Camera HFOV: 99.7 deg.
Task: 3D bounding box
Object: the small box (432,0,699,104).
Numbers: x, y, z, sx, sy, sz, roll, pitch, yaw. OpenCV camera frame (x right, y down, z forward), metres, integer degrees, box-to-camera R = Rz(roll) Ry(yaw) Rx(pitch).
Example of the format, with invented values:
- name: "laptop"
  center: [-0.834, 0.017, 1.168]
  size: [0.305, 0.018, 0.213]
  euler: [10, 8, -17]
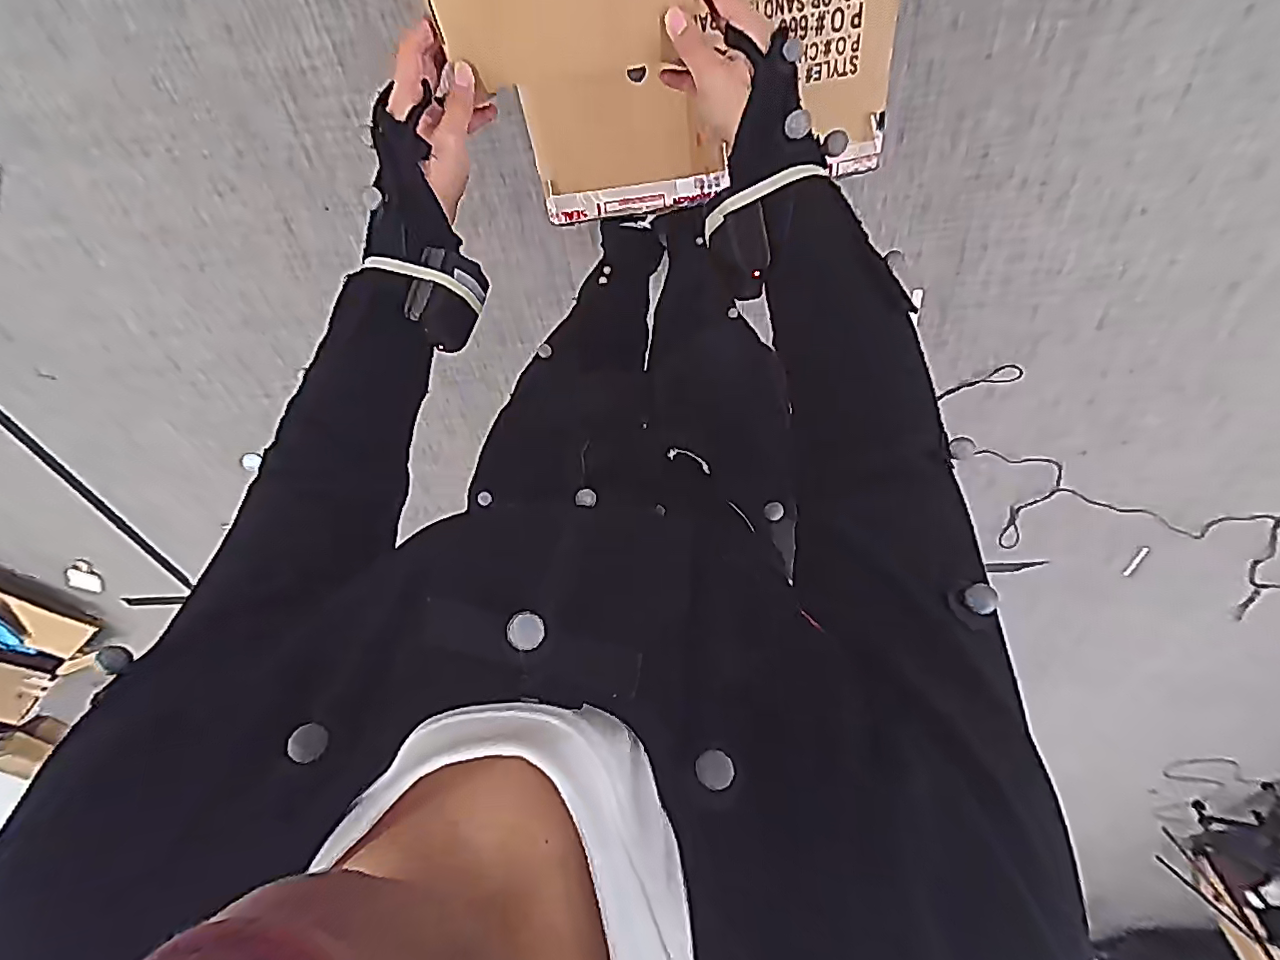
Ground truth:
- name: "small box"
  center: [-0.055, -0.399, 0.382]
  size: [0.179, 0.176, 0.168]
  euler: [-4, 139, 7]
